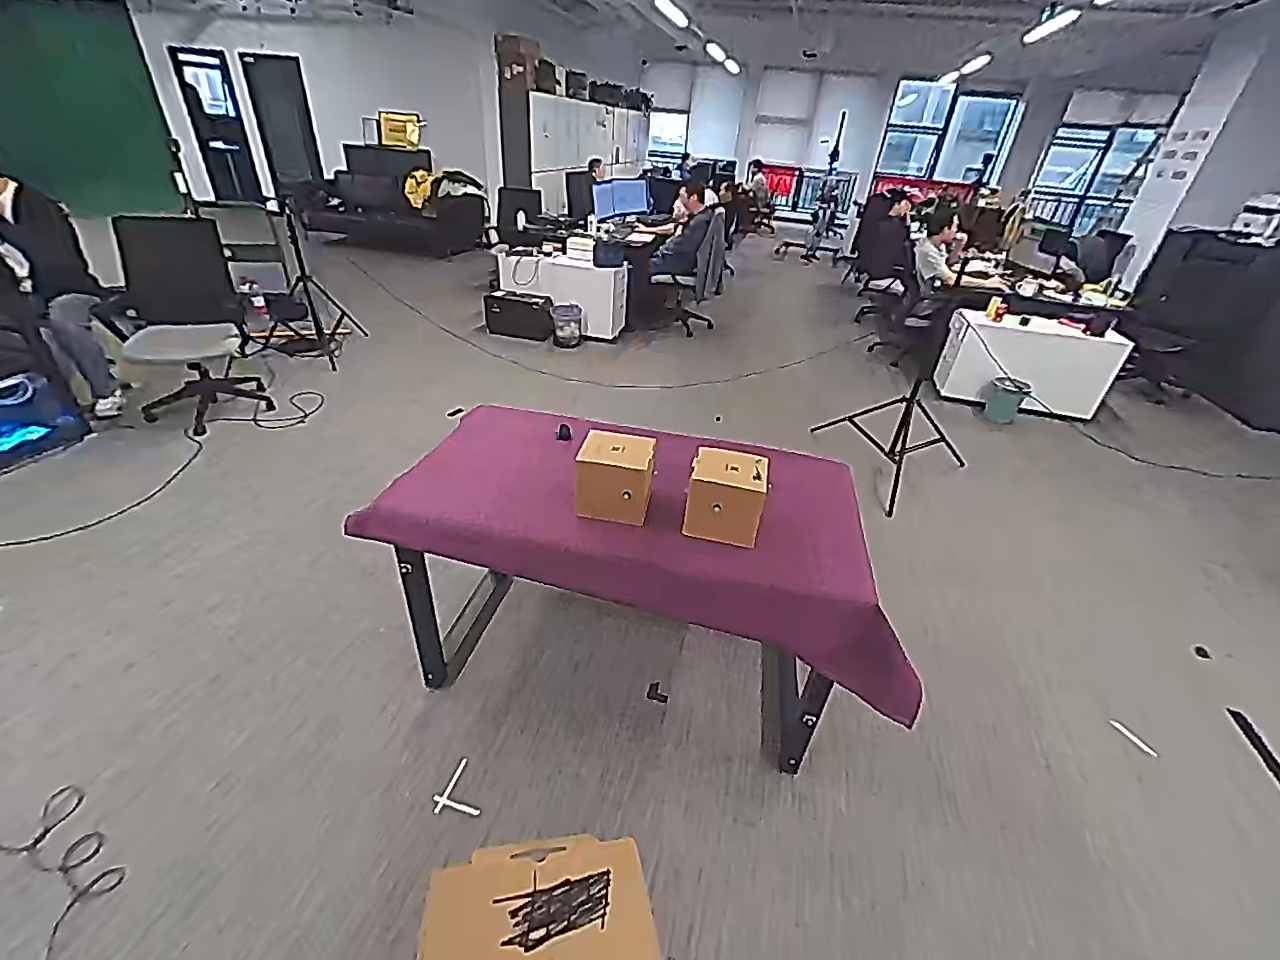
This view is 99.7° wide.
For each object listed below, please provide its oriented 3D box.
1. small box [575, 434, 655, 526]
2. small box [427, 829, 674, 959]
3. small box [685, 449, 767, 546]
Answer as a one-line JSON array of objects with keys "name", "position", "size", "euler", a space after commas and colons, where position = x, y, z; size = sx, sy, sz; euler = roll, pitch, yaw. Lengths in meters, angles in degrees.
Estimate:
[{"name": "small box", "position": [-0.062, 0.000, 1.381], "size": [0.179, 0.176, 0.168], "euler": [7, 31, 5]}, {"name": "small box", "position": [-0.074, 0.406, 0.407], "size": [0.168, 0.176, 0.179], "euler": [5, 32, -21]}, {"name": "small box", "position": [0.212, 0.044, 1.344], "size": [0.179, 0.176, 0.168], "euler": [9, 33, 9]}]
